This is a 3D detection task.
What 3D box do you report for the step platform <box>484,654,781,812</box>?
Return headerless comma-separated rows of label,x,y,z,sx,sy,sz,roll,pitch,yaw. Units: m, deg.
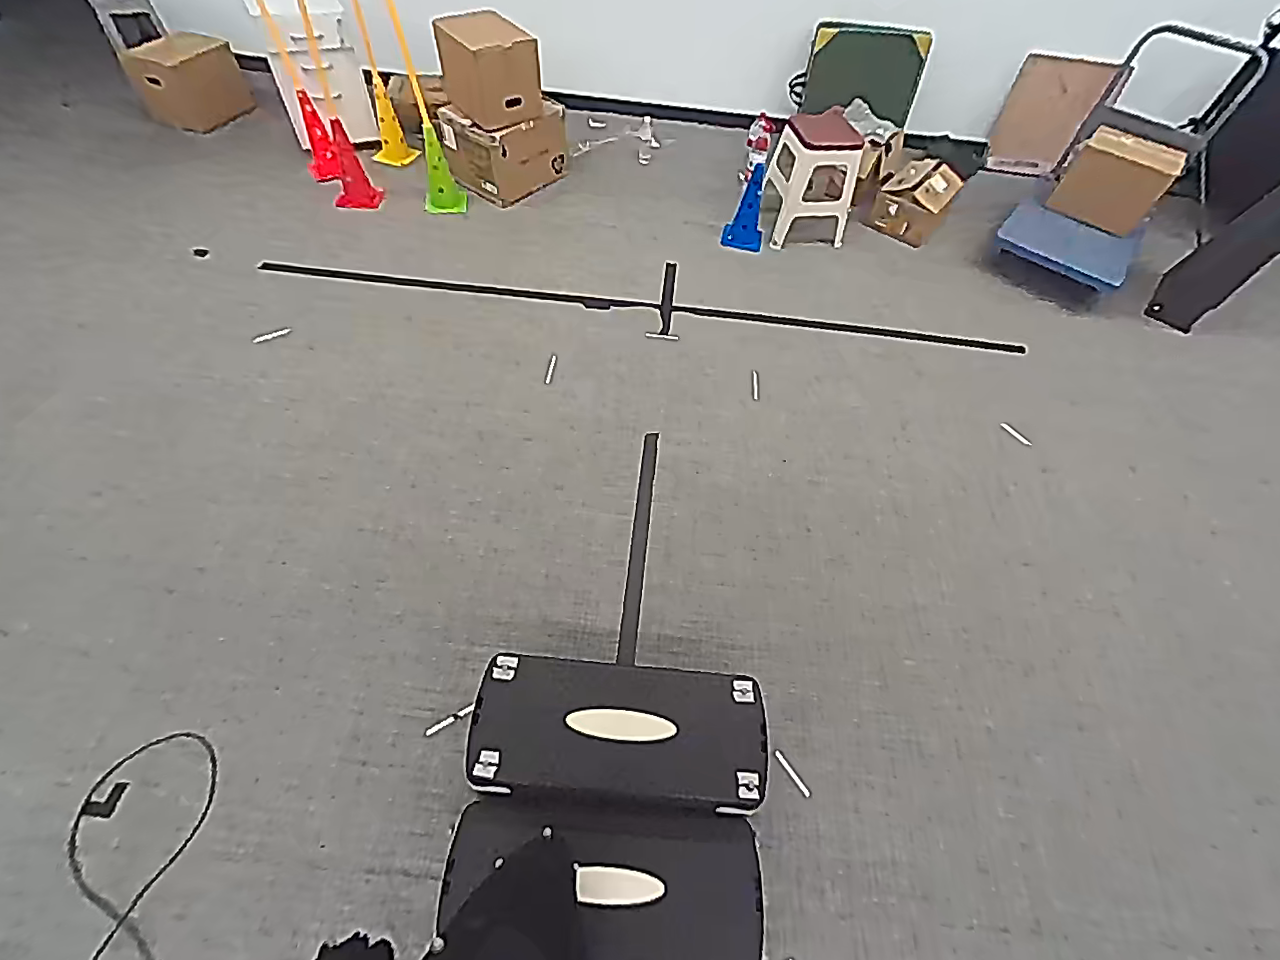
step platform,-0.015,0.601,1.292,0.684,0.204,0.286,6,55,-2
